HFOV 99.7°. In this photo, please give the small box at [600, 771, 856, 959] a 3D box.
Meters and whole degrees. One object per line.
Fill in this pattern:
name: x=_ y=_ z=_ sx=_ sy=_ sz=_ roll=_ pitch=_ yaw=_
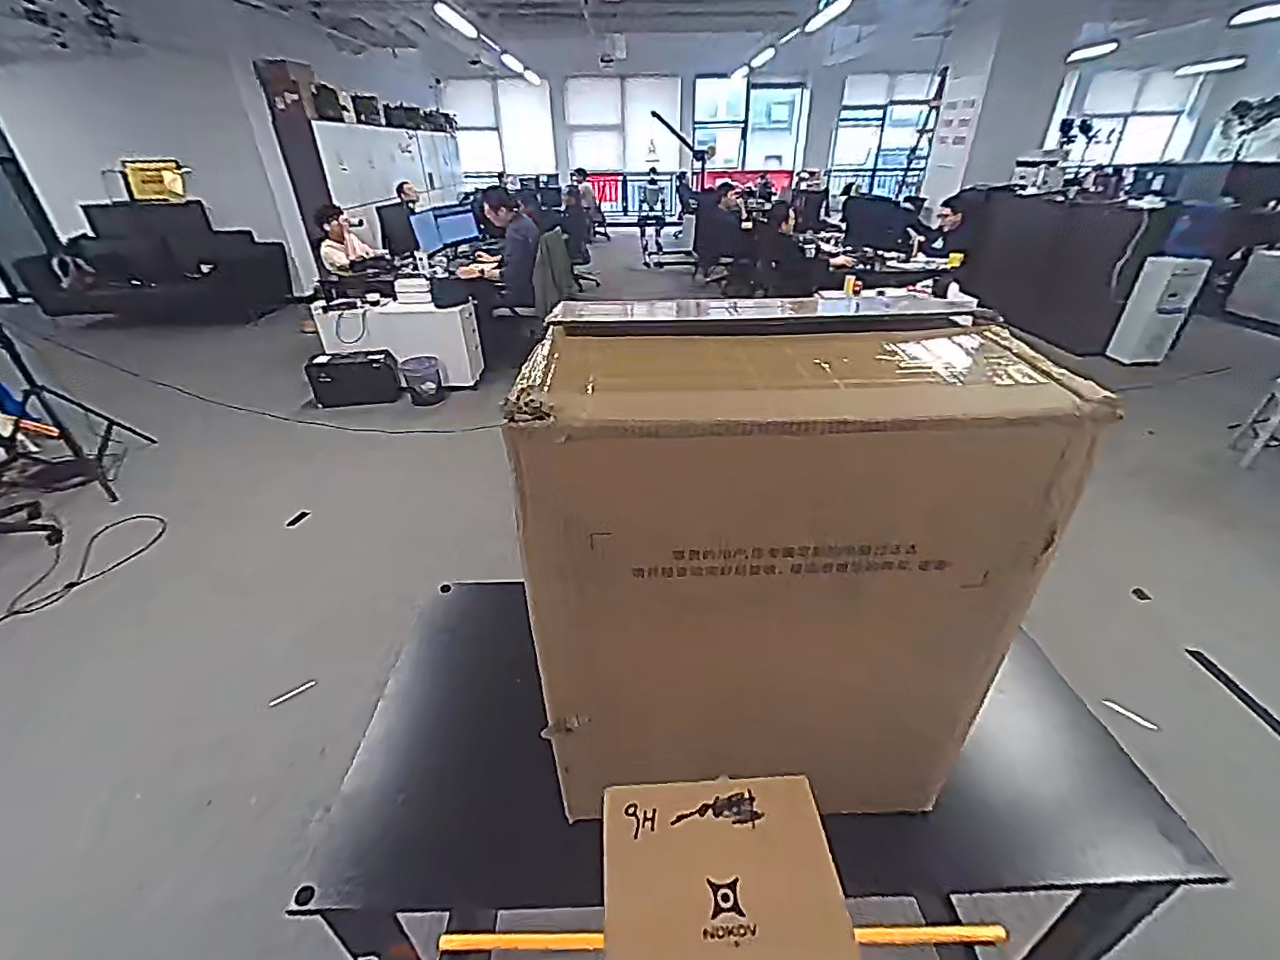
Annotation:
small box: x=0.055 y=0.354 z=0.412 sx=0.168 sy=0.176 sz=0.179 roll=-2 pitch=37 yaw=-4
